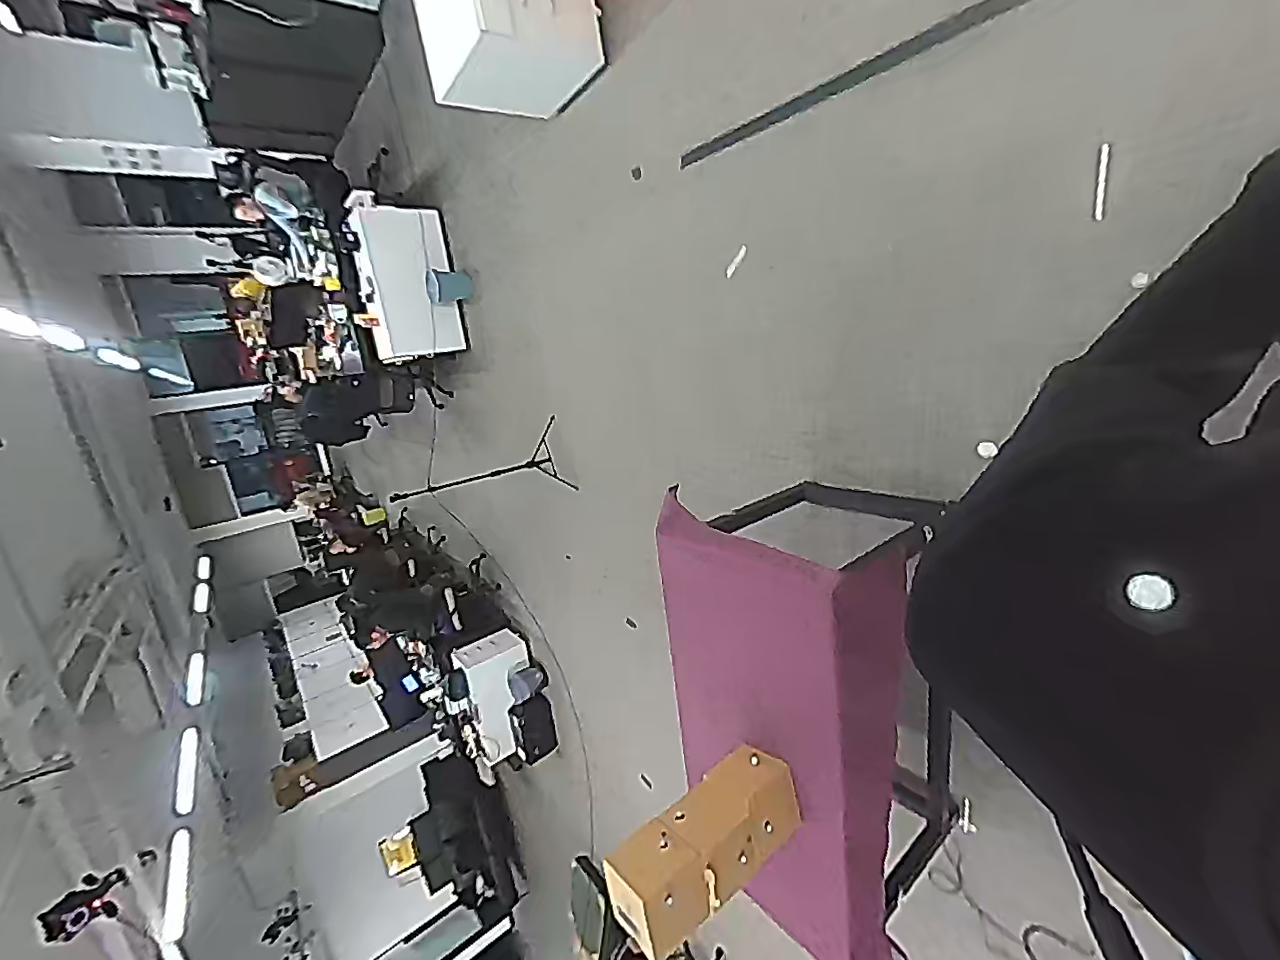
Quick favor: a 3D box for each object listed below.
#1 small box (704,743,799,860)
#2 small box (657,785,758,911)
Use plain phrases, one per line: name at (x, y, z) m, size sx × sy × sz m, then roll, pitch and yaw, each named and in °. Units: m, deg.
small box at (0.302, 0.851, 1.448) m, size 0.168 × 0.176 × 0.179 m, roll -5°, pitch 100°, yaw 54°
small box at (0.172, 0.913, 1.366) m, size 0.179 × 0.176 × 0.168 m, roll 4°, pitch 109°, yaw 53°
